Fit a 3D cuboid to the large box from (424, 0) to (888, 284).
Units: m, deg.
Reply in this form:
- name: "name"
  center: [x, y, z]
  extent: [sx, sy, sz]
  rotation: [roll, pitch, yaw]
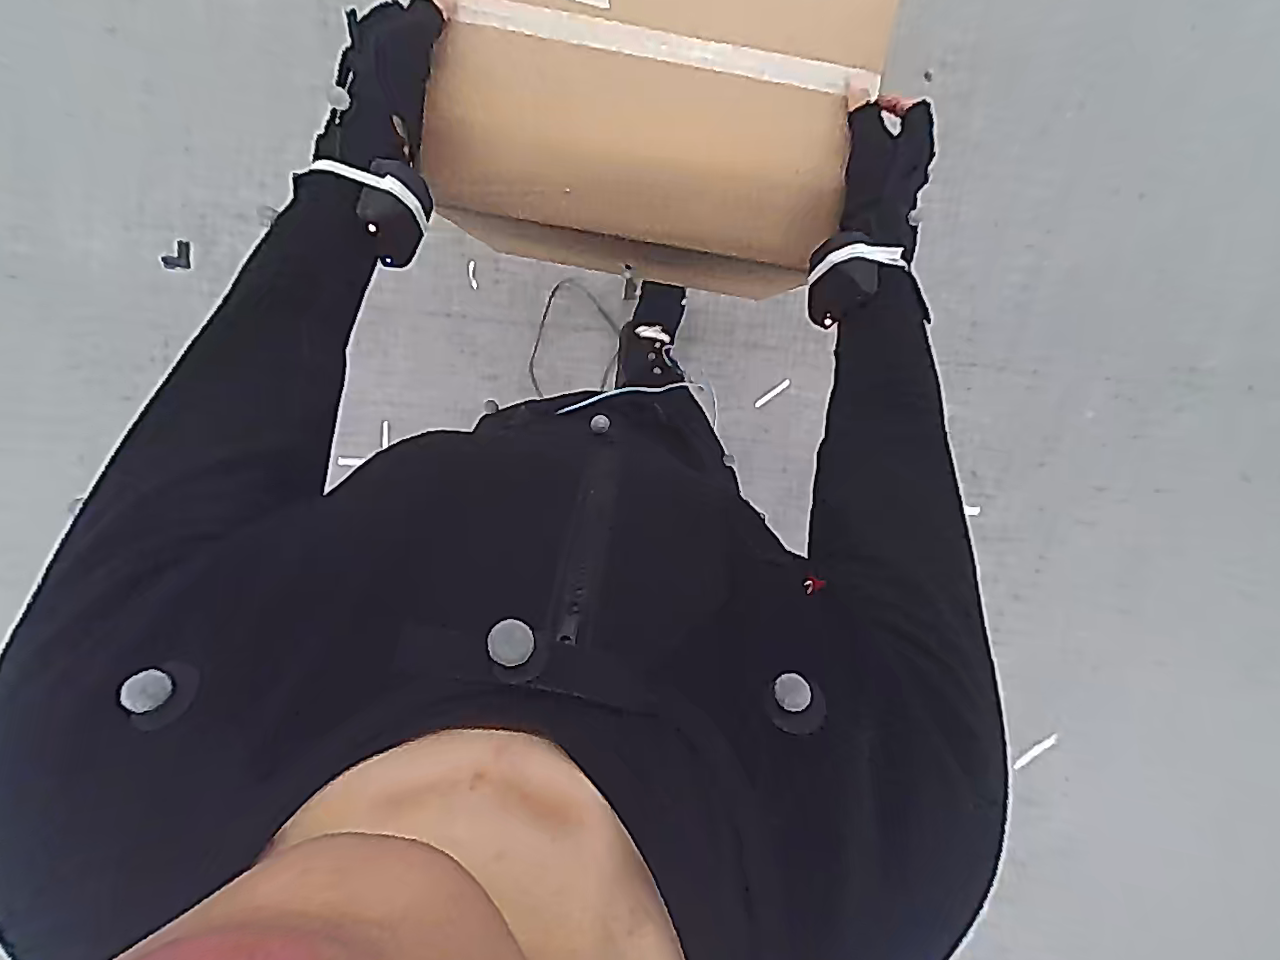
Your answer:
- name: "large box"
  center: [0.014, -0.426, 0.627]
  extent: [0.408, 0.320, 0.320]
  rotation: [9, 103, -3]
